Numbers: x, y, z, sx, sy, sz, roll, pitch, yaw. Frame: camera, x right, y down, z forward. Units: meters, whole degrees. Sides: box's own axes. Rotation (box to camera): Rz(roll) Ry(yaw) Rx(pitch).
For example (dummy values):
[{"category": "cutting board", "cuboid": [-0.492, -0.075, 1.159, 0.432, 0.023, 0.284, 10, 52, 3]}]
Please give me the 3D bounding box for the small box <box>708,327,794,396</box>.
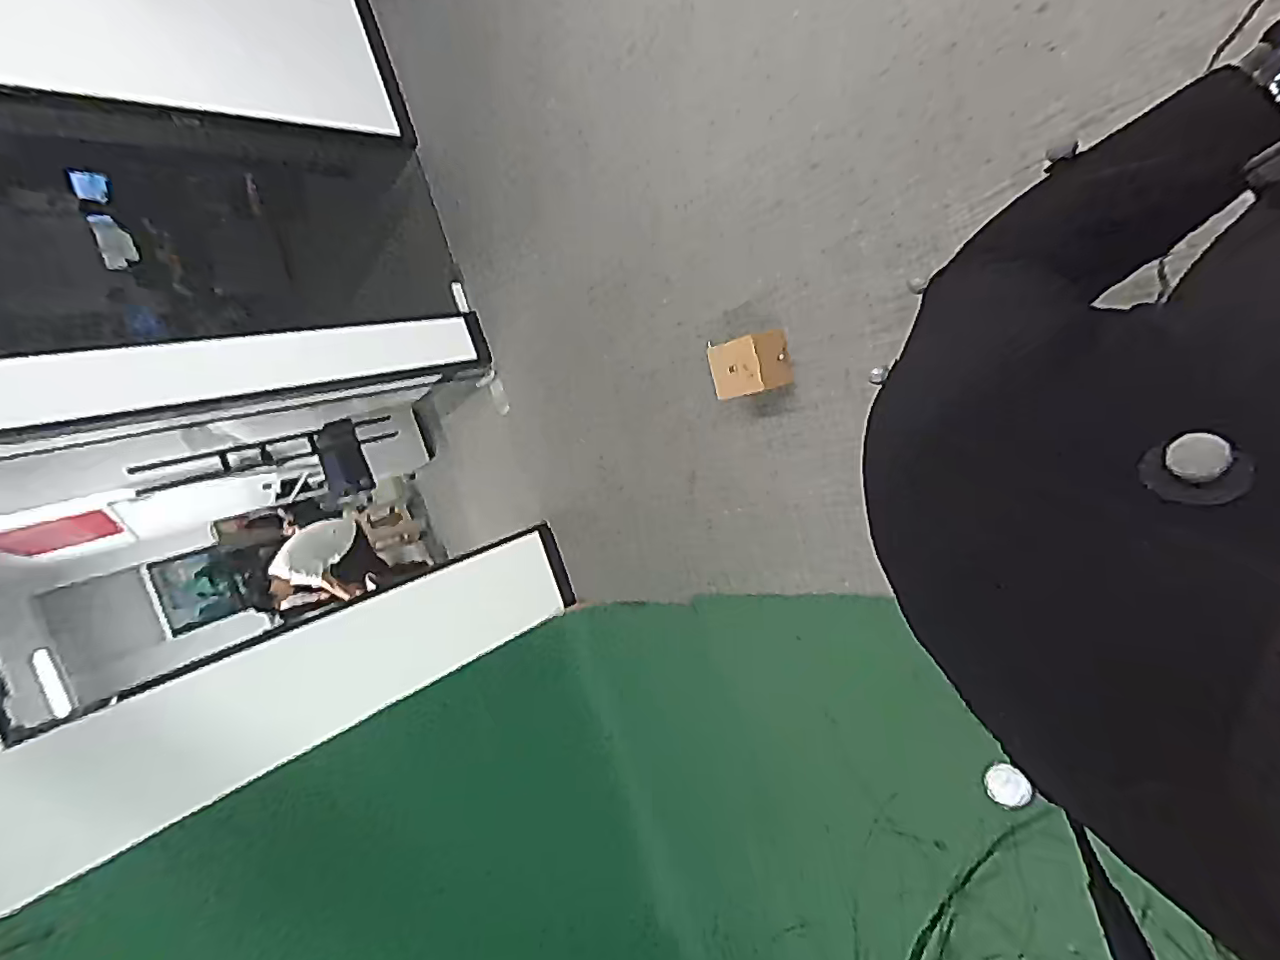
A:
[{"category": "small box", "cuboid": [0.343, -0.364, 1.663, 0.179, 0.176, 0.168, -5, 103, 49]}]
